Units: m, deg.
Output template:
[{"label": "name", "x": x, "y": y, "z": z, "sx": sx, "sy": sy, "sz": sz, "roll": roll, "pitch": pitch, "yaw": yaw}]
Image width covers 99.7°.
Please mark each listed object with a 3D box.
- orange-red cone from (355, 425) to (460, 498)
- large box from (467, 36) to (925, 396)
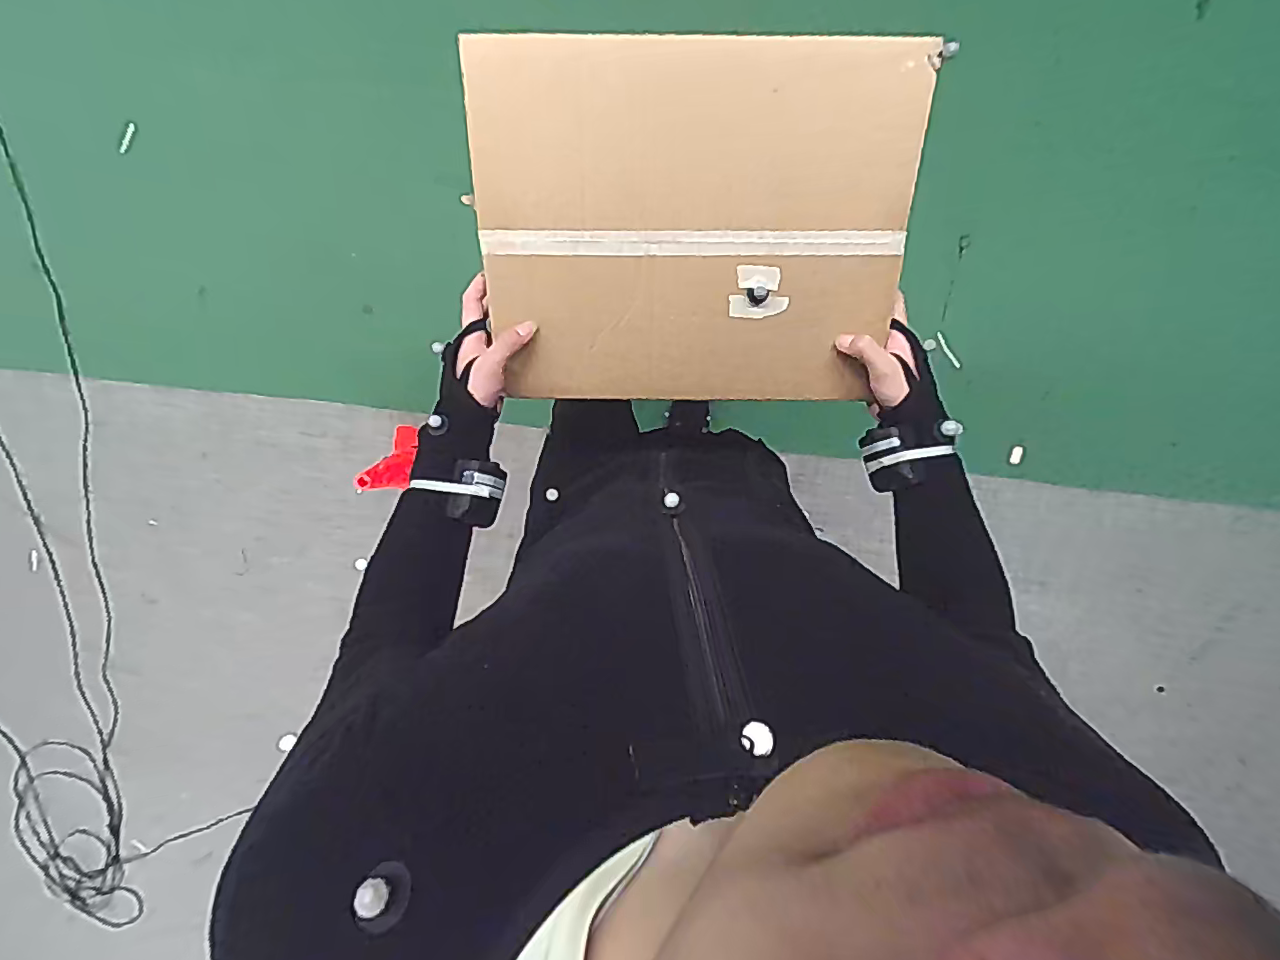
[{"label": "orange-red cone", "x": -0.665, "y": -0.027, "z": 1.477, "sx": 0.199, "sy": 0.360, "sz": 0.198, "roll": 14, "pitch": 100, "yaw": 1}, {"label": "large box", "x": 0.048, "y": -0.299, "z": 0.660, "sx": 0.408, "sy": 0.320, "sz": 0.320, "roll": -1, "pitch": 116, "yaw": 0}]
